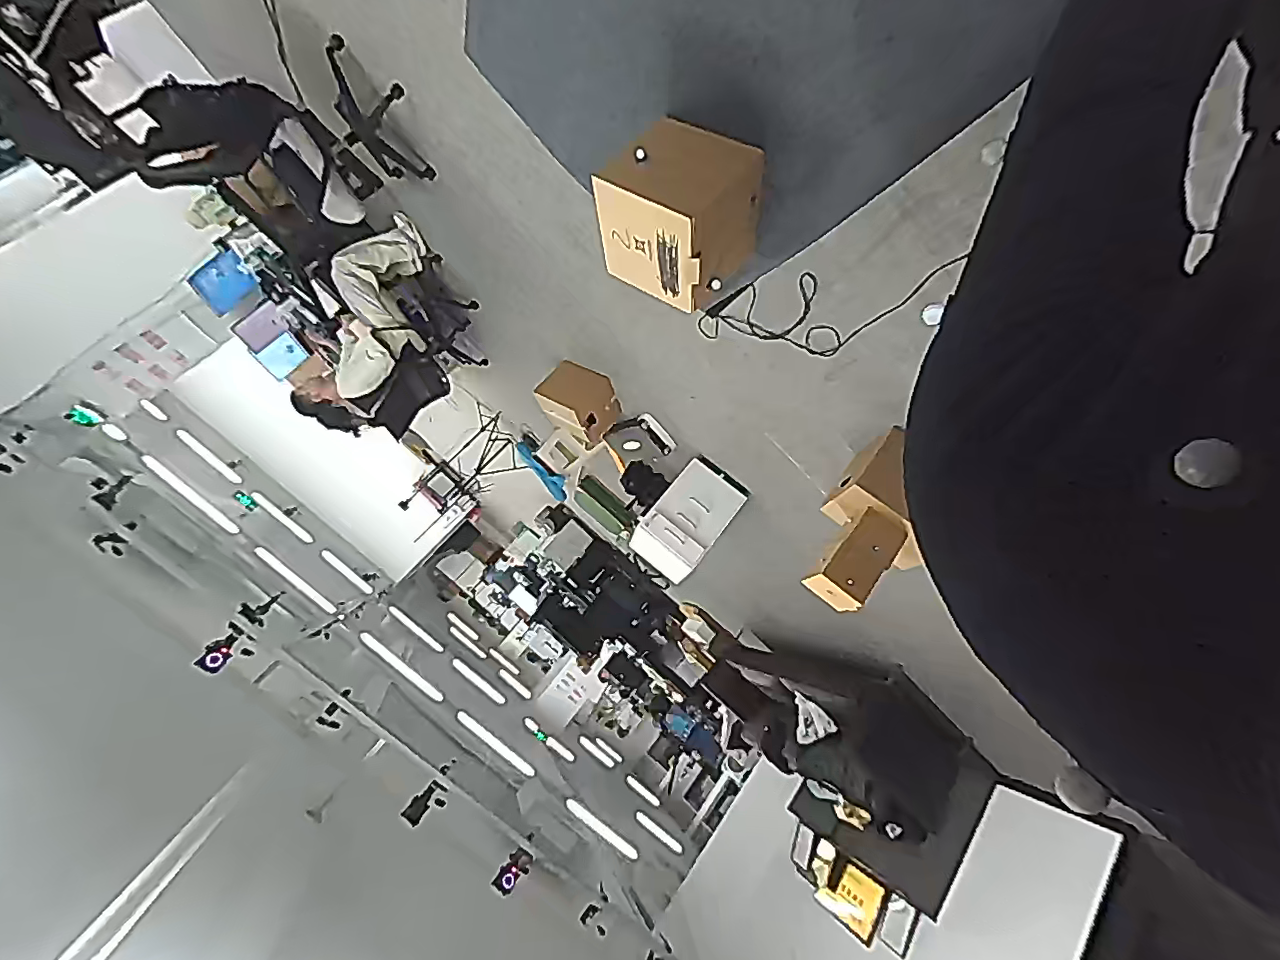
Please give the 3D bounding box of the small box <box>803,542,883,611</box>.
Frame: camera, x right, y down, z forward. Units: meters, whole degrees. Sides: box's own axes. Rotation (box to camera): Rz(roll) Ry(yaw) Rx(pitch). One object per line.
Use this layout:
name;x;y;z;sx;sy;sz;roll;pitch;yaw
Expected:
small box;0.724;0.340;1.931;0.179;0.176;0.168;38;159;7

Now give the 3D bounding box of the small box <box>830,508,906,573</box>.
small box;0.835;0.233;1.985;0.179;0.176;0.168;39;159;7
